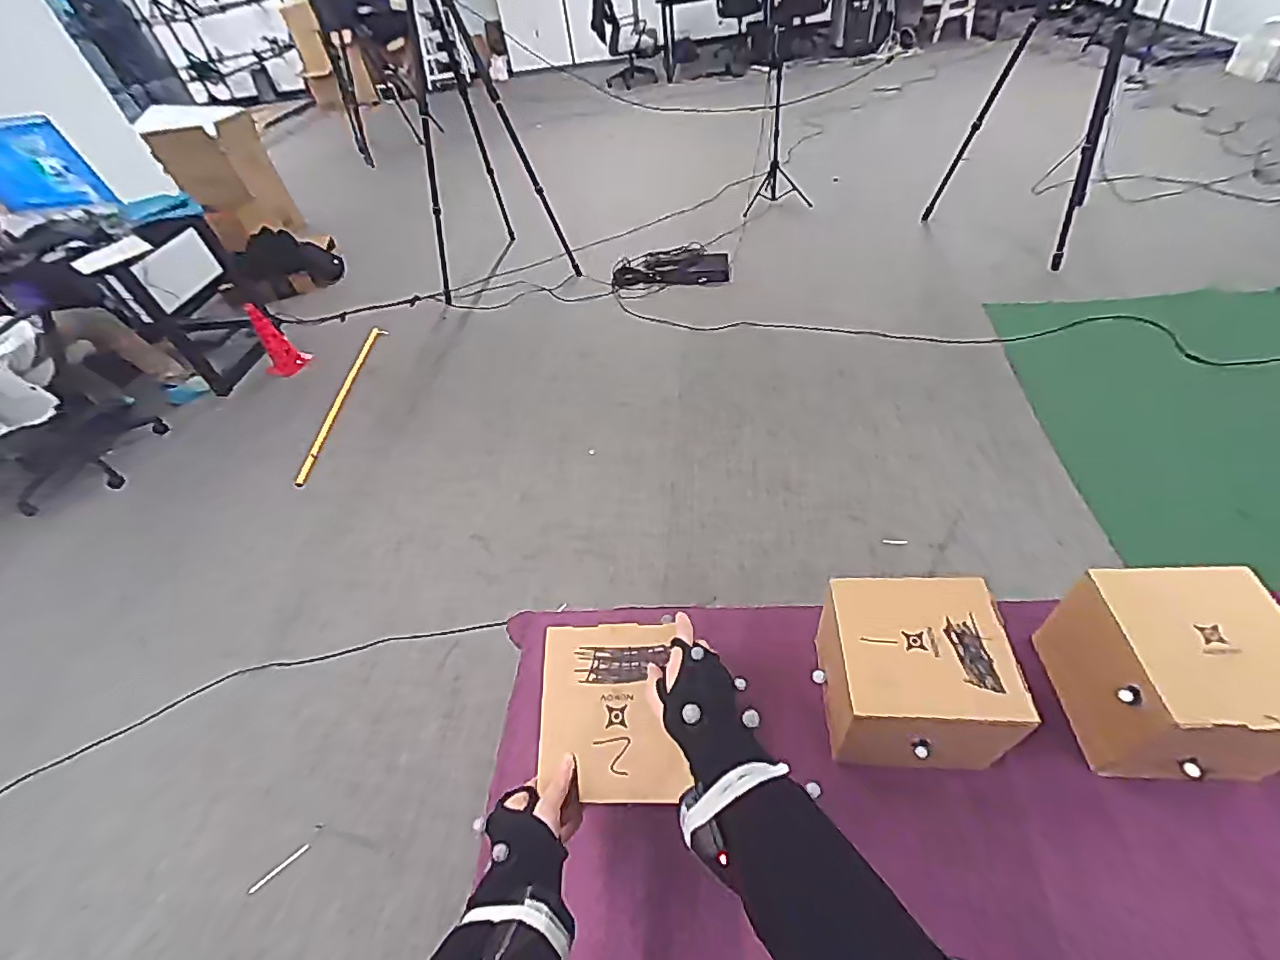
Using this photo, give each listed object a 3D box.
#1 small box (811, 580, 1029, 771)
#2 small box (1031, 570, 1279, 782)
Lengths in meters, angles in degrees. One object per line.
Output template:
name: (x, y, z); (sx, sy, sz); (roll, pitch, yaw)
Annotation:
small box: (0.312, 0.235, 0.648); (0.179, 0.176, 0.168); (-2, 47, 9)
small box: (0.591, 0.221, 0.614); (0.168, 0.176, 0.179); (-3, 48, 8)
